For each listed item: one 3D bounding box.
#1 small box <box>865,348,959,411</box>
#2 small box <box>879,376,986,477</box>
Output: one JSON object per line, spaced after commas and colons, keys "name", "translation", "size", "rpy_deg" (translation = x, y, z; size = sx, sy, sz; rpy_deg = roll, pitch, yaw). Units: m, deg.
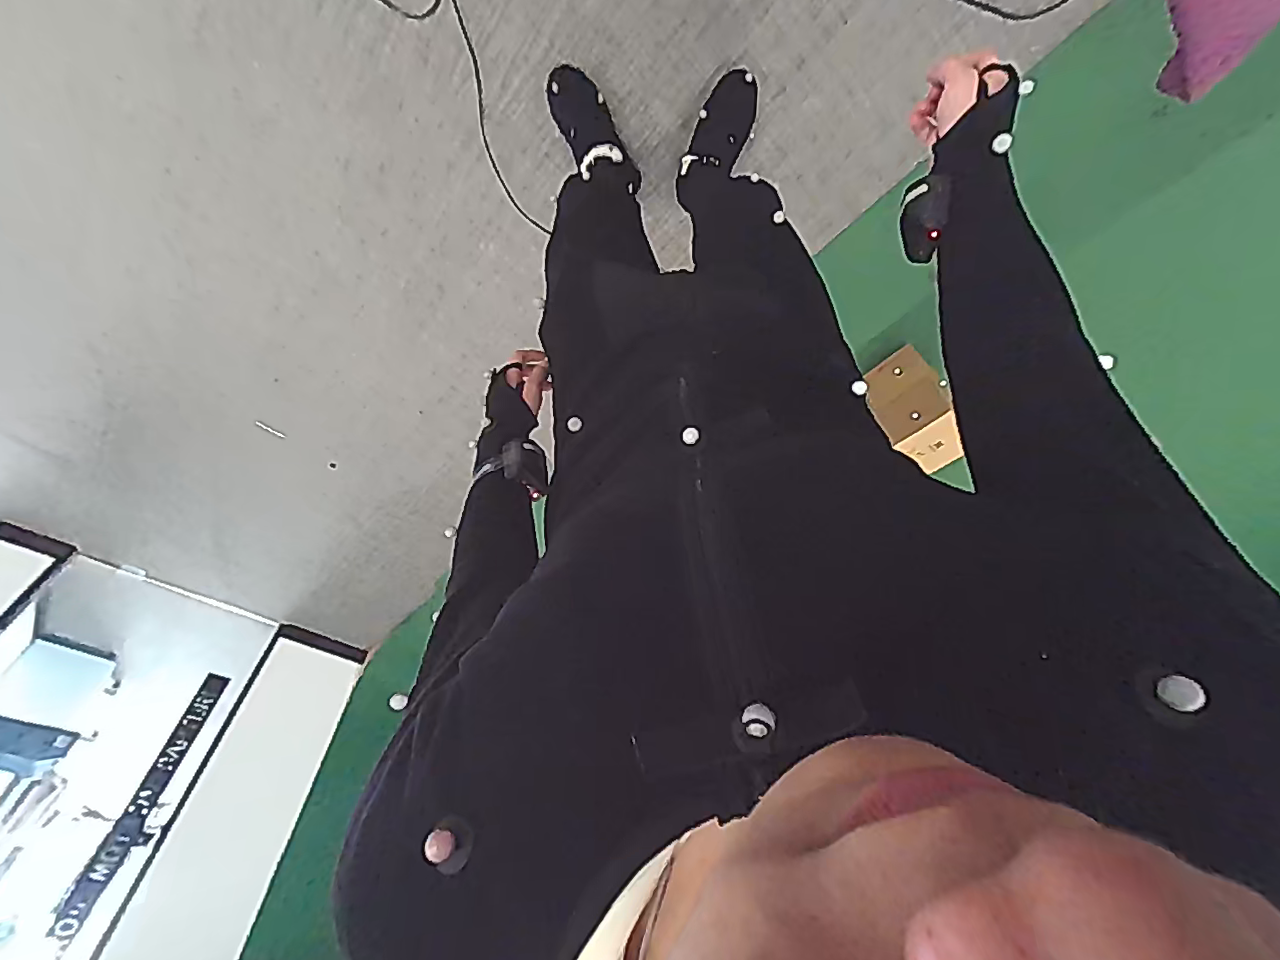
{"name": "small box", "translation": [0.794, -0.261, 1.586], "size": [0.179, 0.176, 0.168], "rpy_deg": [32, 128, -26]}
{"name": "small box", "translation": [0.784, -0.148, 1.466], "size": [0.168, 0.176, 0.179], "rpy_deg": [33, 128, -26]}
